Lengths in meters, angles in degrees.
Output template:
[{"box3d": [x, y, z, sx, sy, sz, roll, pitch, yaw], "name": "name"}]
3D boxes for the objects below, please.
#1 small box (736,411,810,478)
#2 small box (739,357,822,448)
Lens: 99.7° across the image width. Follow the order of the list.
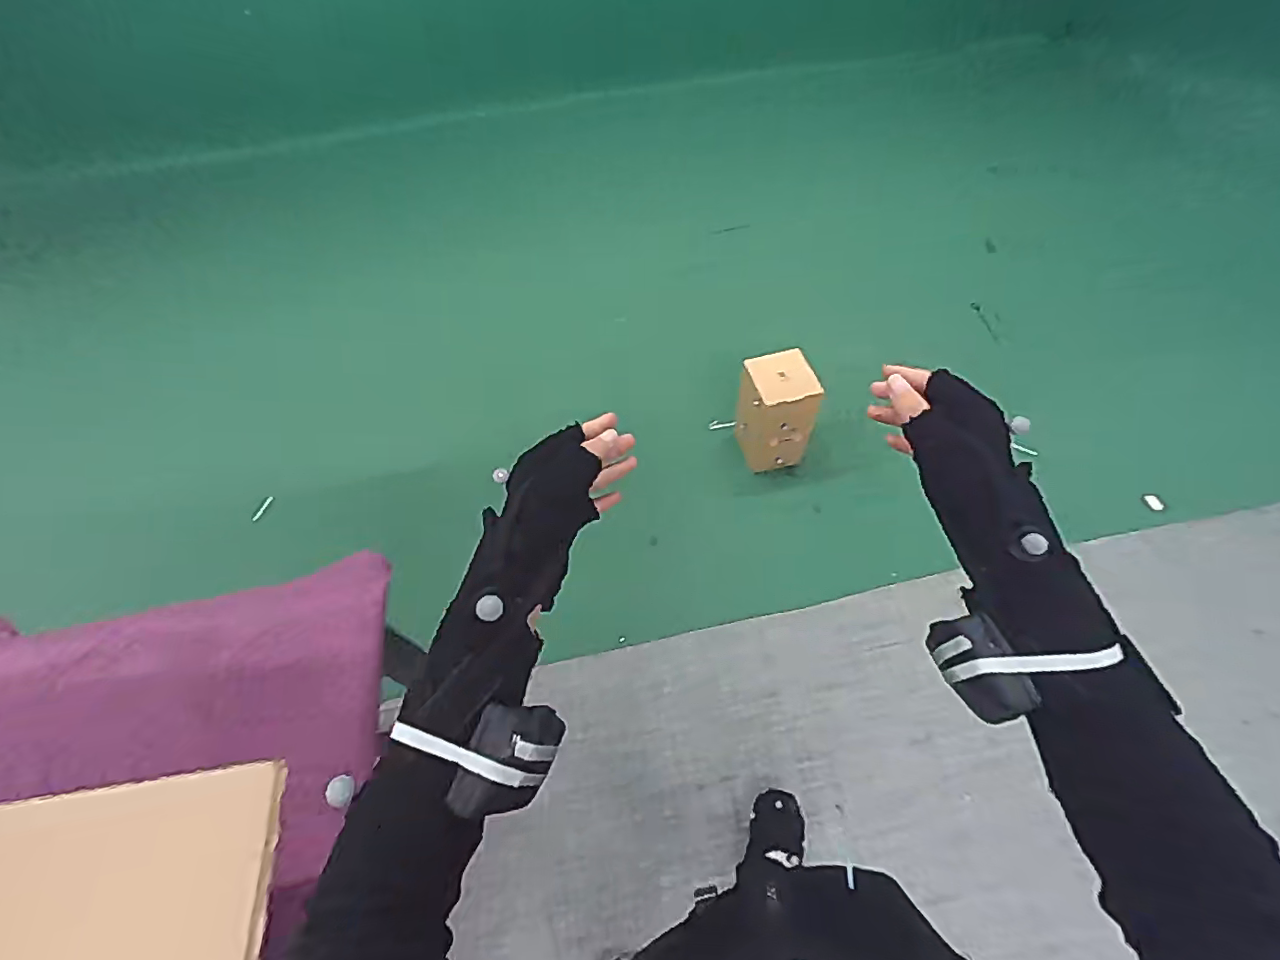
[{"box3d": [0.405, -0.132, 1.689, 0.168, 0.176, 0.179, -13, 57, -4], "name": "small box"}, {"box3d": [0.394, -0.222, 1.553, 0.168, 0.176, 0.179, -14, 58, -6], "name": "small box"}]
